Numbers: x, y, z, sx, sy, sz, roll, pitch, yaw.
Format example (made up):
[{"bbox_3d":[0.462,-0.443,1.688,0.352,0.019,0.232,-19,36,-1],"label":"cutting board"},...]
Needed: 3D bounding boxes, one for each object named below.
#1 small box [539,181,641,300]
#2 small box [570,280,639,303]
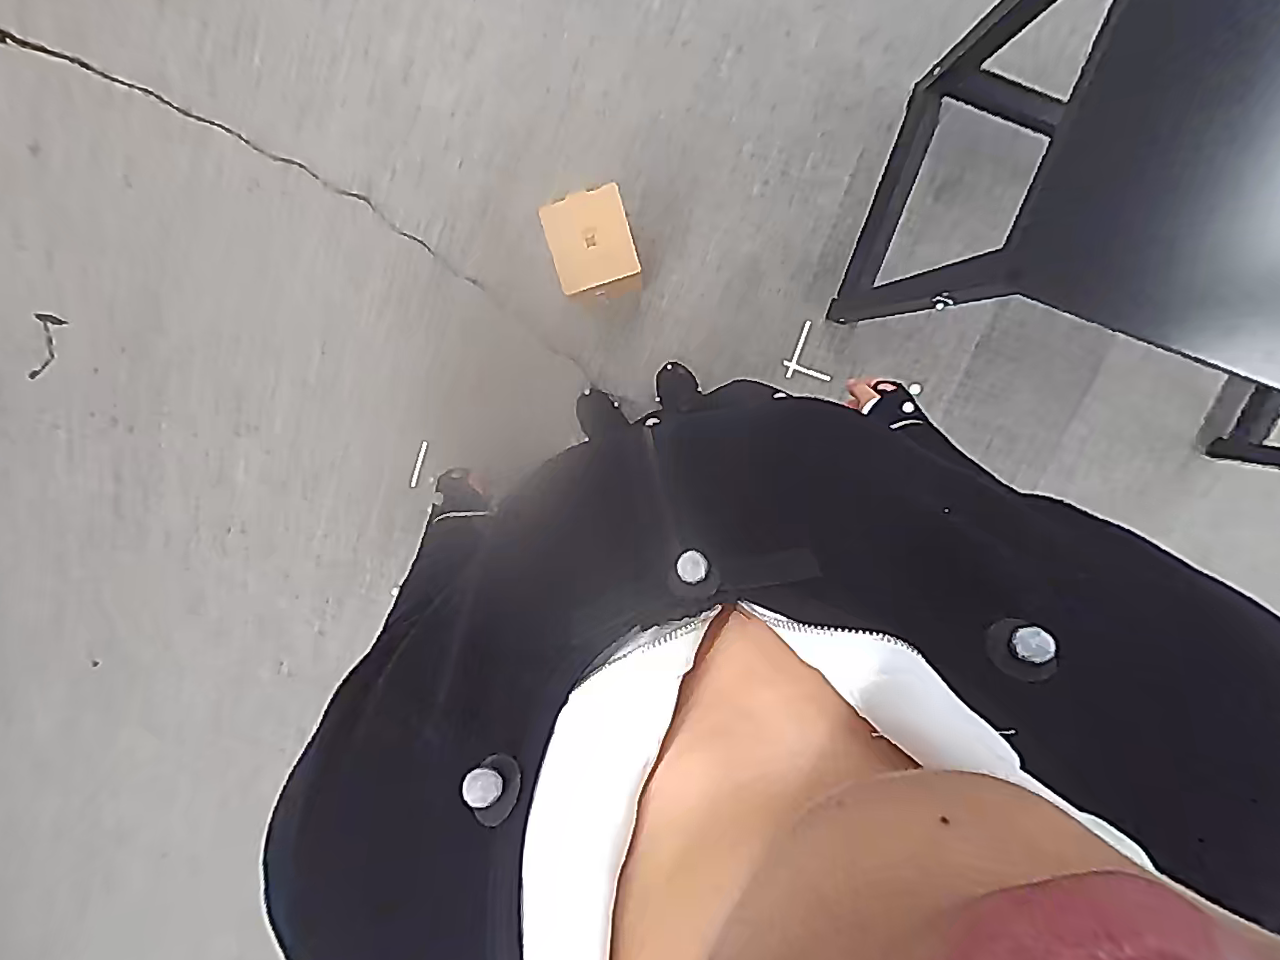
[{"bbox_3d":[-0.100,-0.500,1.156,0.168,0.176,0.179,-17,103,5],"label":"small box"},{"bbox_3d":[-0.097,-0.537,1.314,0.168,0.176,0.179,-13,101,2],"label":"small box"}]
